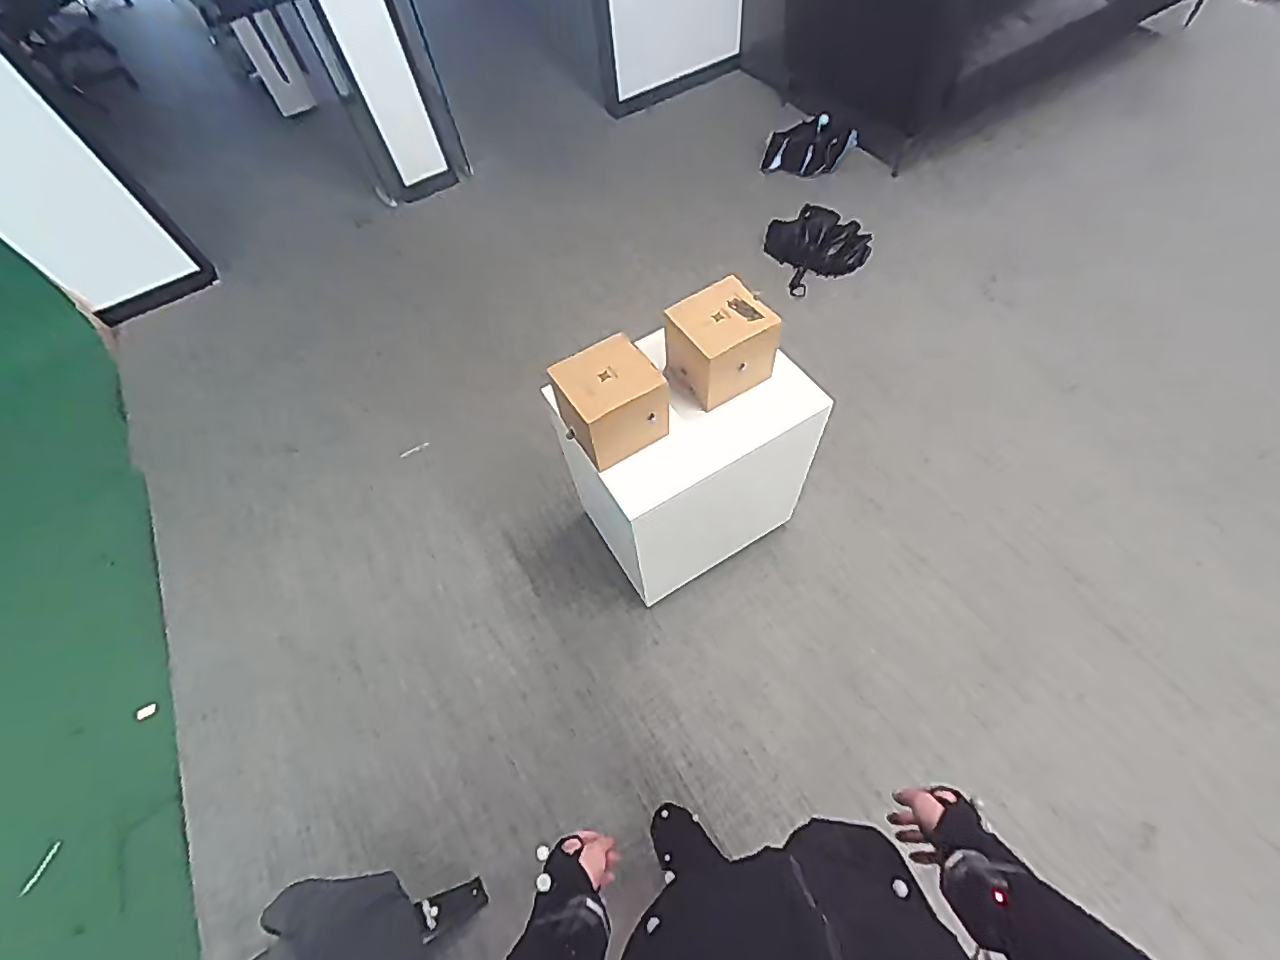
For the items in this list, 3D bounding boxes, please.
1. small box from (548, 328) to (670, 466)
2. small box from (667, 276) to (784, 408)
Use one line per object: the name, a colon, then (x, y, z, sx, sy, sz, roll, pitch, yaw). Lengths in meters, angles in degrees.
small box: (-0.057, -0.160, 1.070, 0.179, 0.176, 0.168, -30, 61, -14)
small box: (0.169, -0.285, 1.131, 0.179, 0.176, 0.168, -29, 62, -12)
